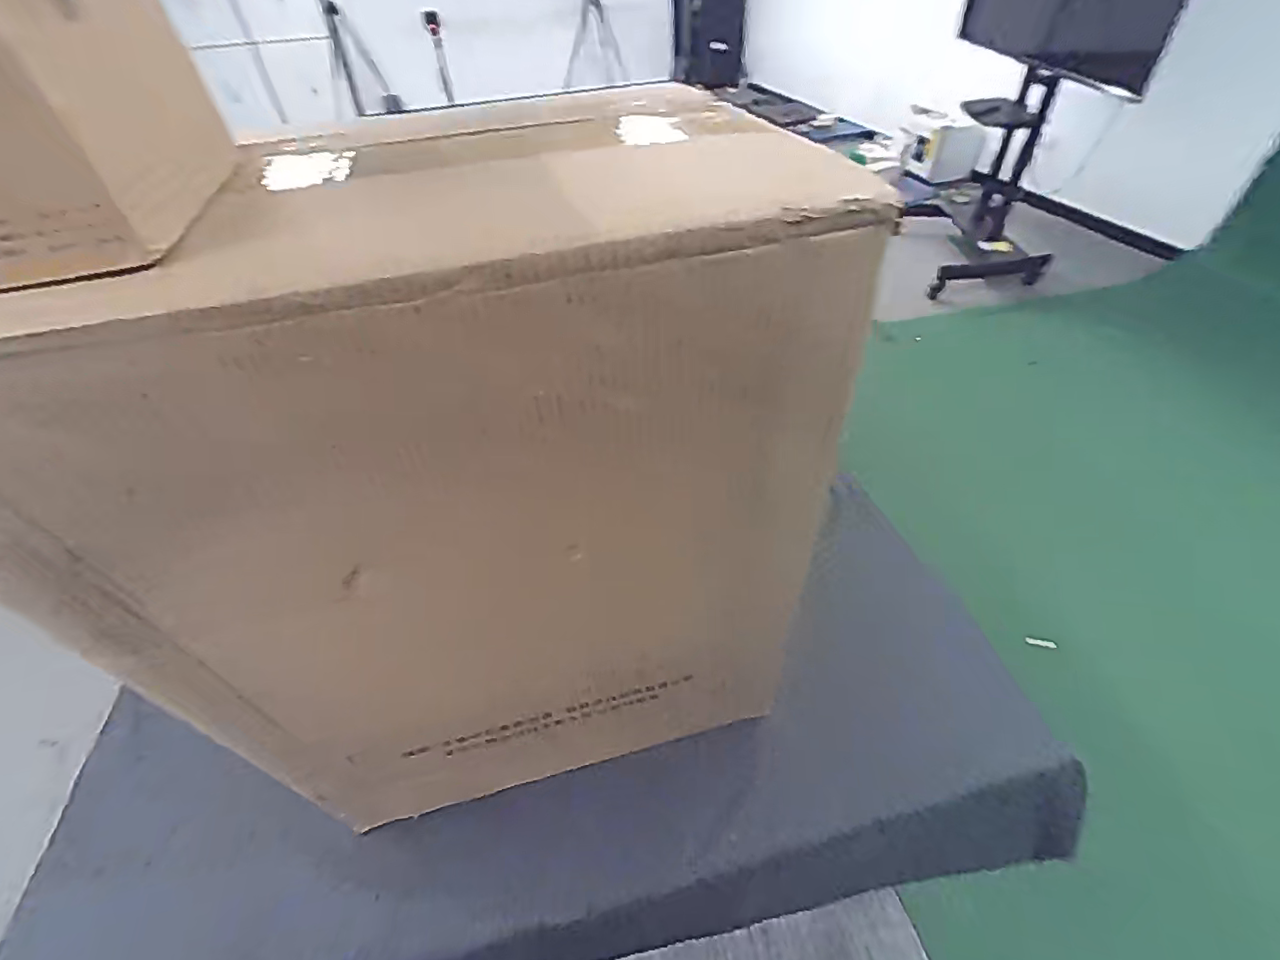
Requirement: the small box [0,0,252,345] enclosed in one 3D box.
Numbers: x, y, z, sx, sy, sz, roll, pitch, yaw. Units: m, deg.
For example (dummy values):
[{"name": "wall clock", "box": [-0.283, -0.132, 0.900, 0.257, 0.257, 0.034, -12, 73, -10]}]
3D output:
[{"name": "small box", "box": [-0.326, -0.175, 0.258, 0.168, 0.176, 0.179, -17, 46, -10]}]
